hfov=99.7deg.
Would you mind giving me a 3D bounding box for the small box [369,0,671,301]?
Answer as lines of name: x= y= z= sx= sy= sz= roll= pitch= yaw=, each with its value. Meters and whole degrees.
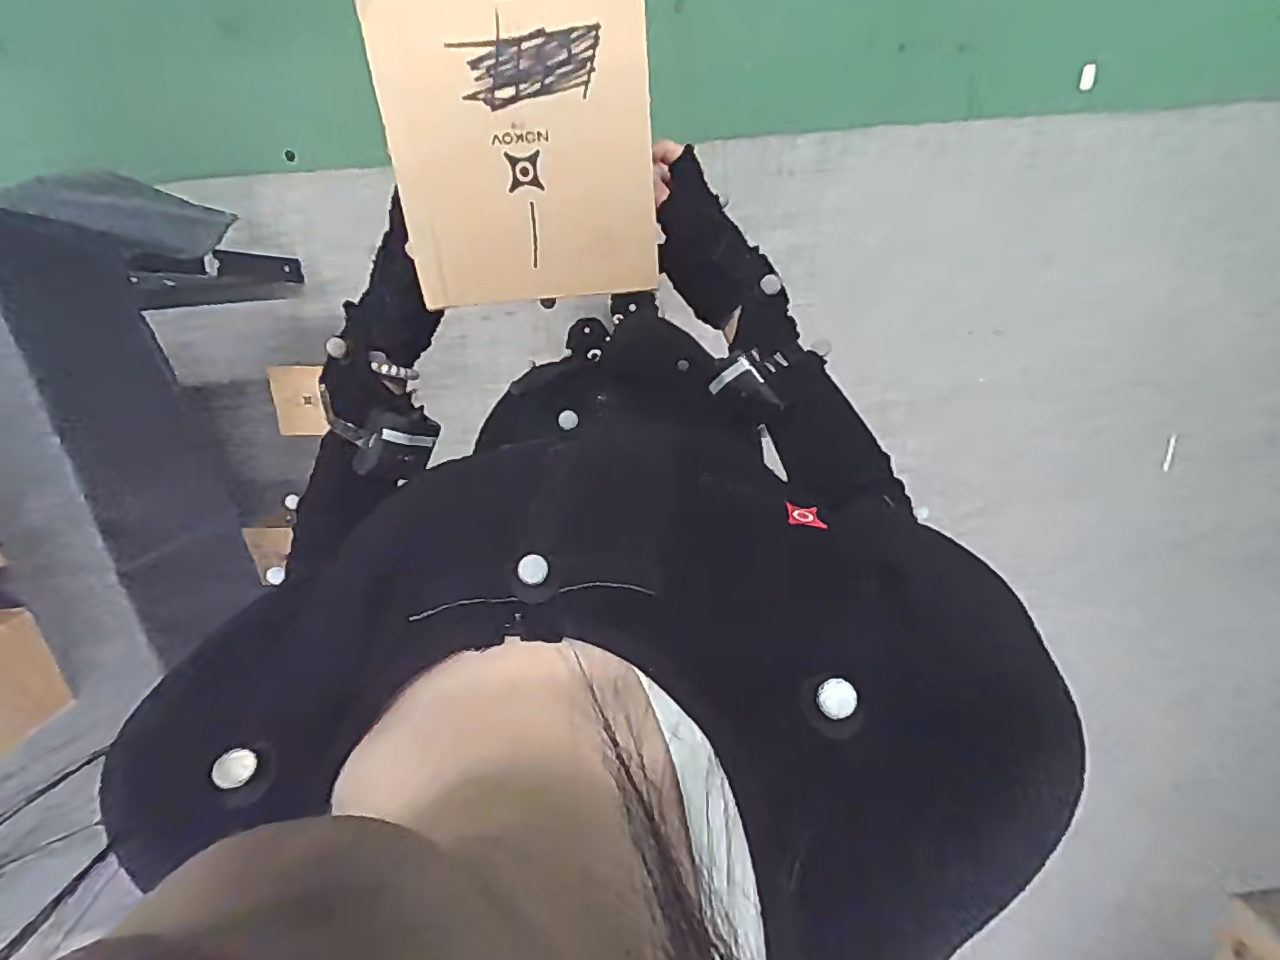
small box: x=-0.074 y=-0.237 z=0.406 sx=0.168 sy=0.176 sz=0.179 roll=-6 pitch=113 yaw=-3
